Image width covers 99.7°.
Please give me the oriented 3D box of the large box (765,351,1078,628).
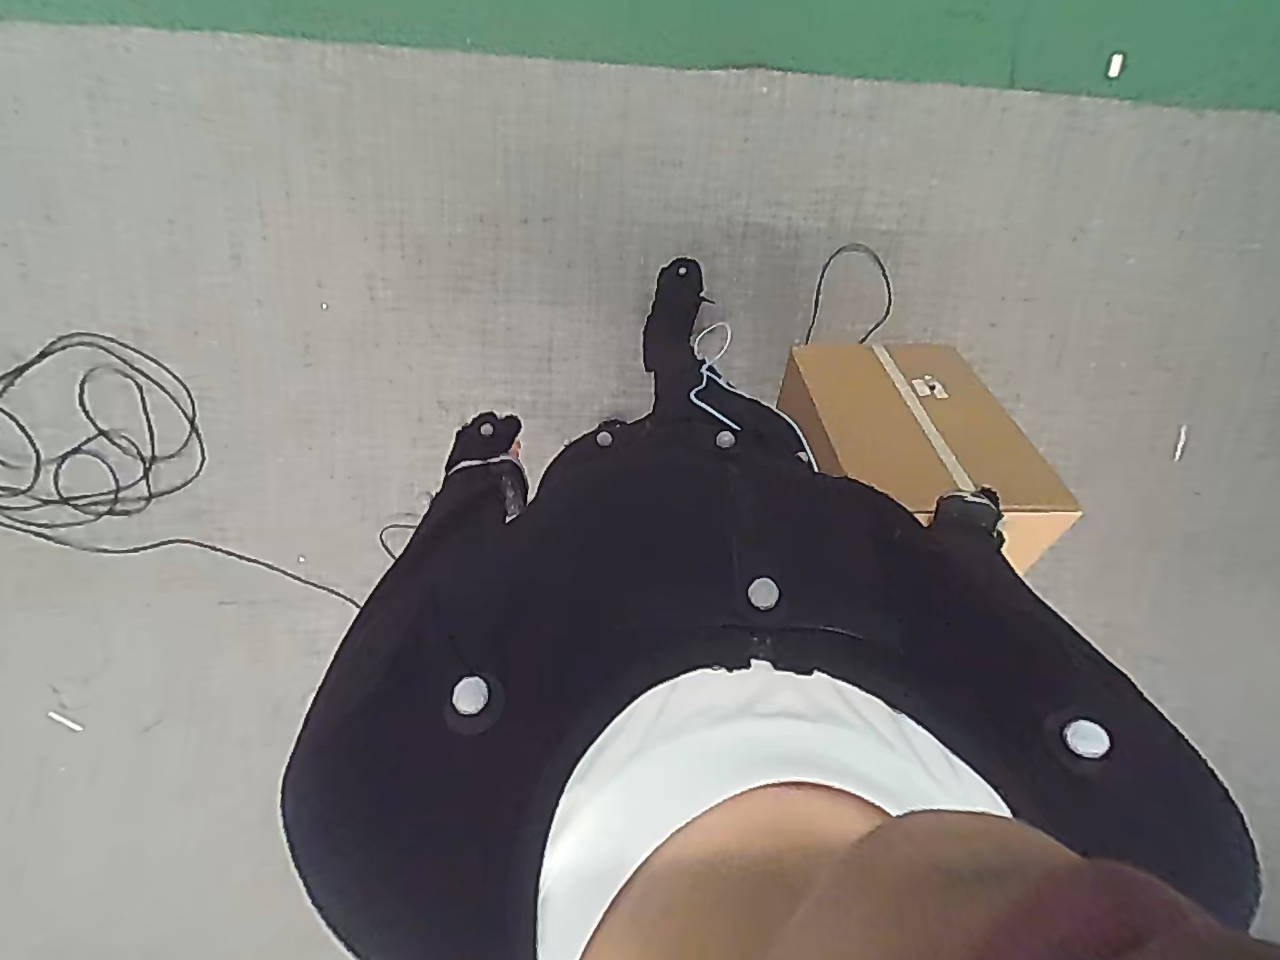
[{"bbox_3d":[0.440,0.010,0.976,0.320,0.408,0.320,0,136,-3],"label":"large box"}]
